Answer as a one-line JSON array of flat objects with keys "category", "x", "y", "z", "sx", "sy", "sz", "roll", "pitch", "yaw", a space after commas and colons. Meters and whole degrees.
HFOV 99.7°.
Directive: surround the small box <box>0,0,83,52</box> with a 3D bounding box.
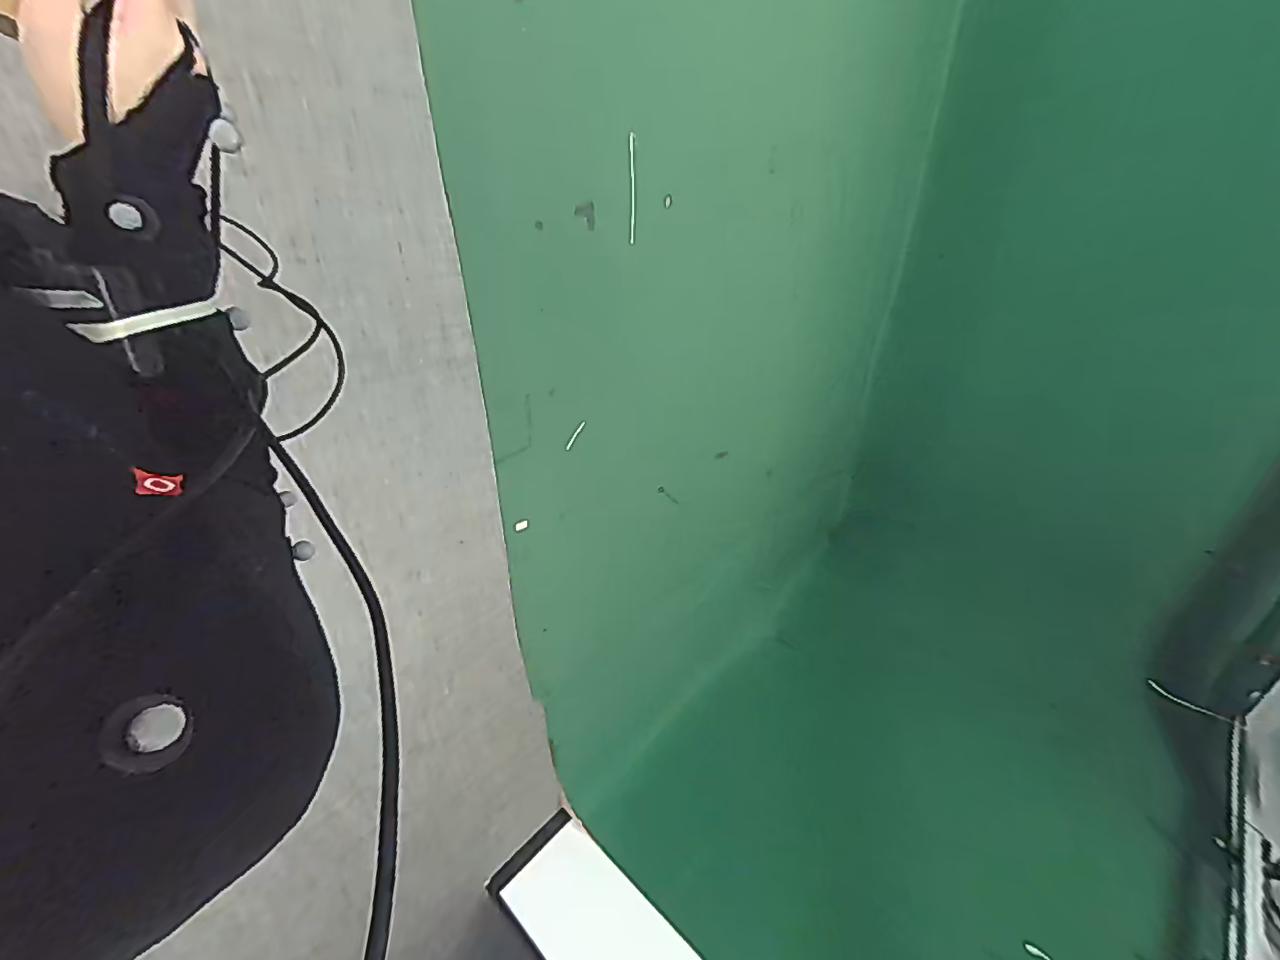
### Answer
[{"category": "small box", "x": -0.343, "y": -0.322, "z": 0.219, "sx": 0.168, "sy": 0.176, "sz": 0.179, "roll": 6, "pitch": 112, "yaw": -54}]
